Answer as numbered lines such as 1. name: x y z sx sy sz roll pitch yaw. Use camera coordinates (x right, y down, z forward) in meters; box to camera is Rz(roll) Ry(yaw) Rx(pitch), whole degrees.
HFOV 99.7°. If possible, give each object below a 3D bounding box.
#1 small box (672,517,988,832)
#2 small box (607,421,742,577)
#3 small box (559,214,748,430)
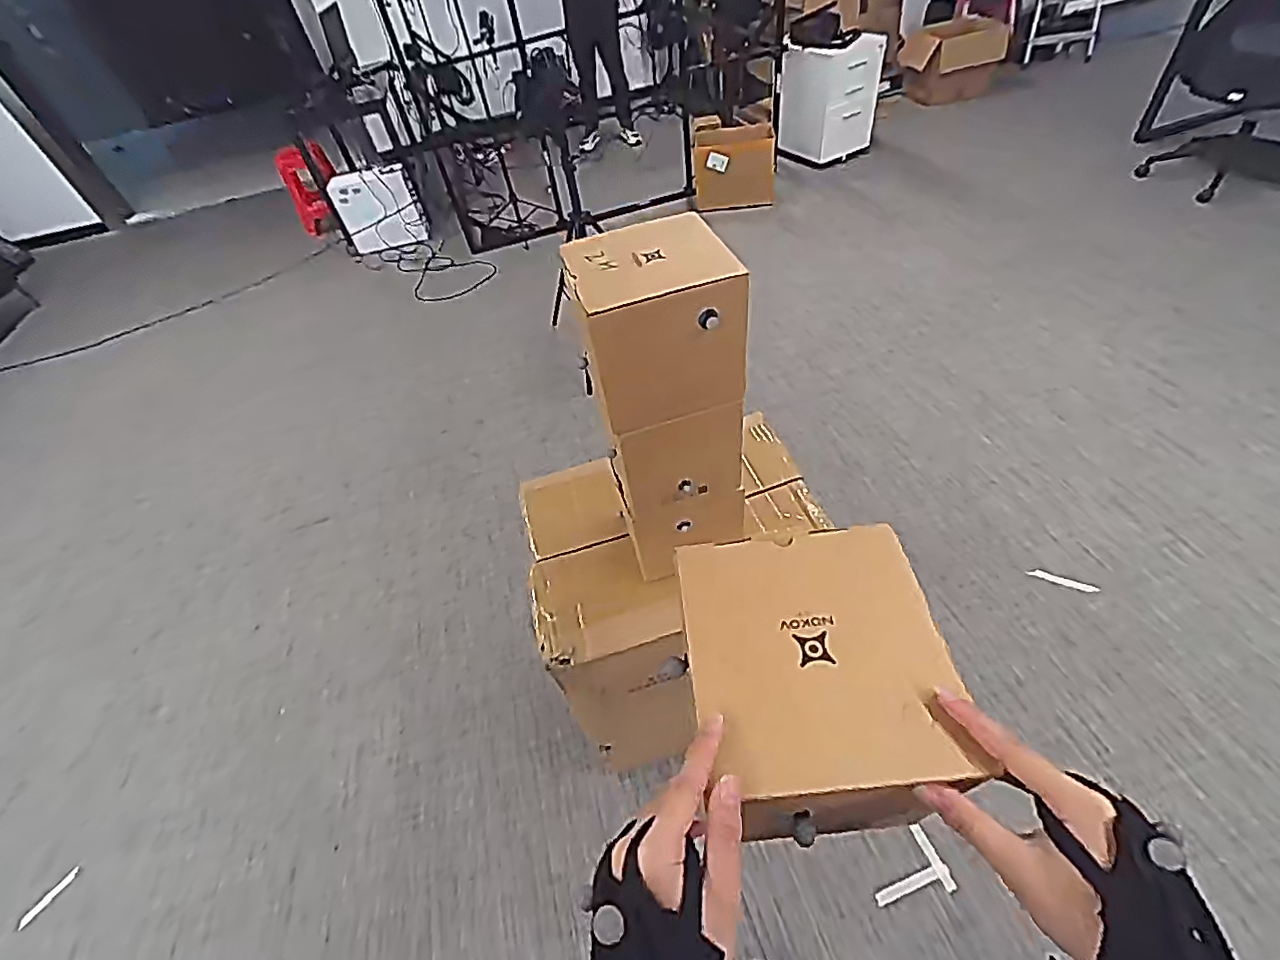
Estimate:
1. small box: 0.119 0.155 0.416 0.168 0.176 0.179 -7 47 3
2. small box: 0.059 0.035 0.892 0.179 0.176 0.168 -16 48 -5
3. small box: 0.016 -0.188 0.653 0.179 0.176 0.168 -17 48 -5
